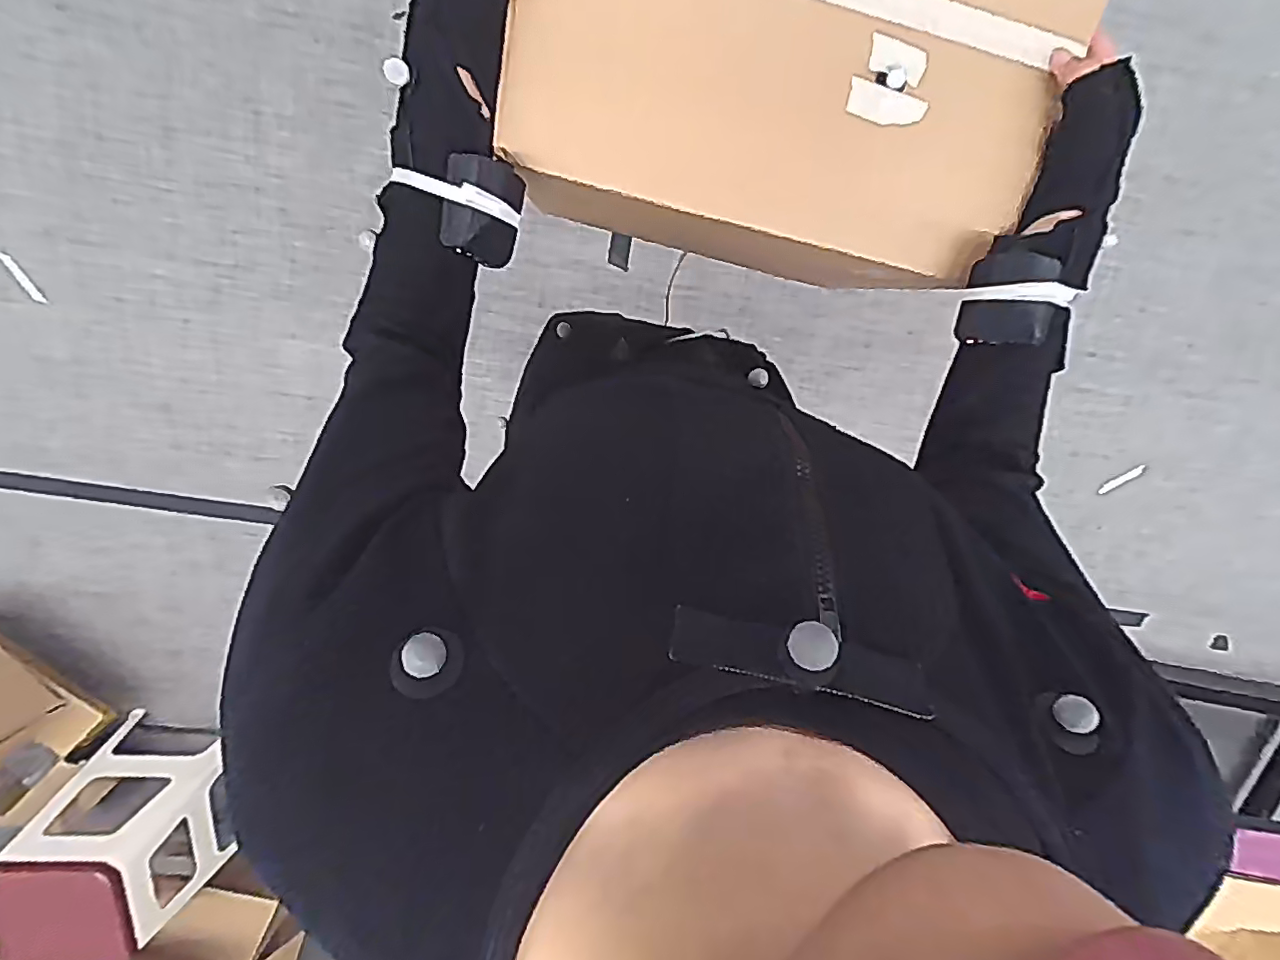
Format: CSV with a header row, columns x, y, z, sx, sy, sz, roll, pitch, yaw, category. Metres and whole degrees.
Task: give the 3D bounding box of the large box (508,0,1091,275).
x,y,z,sx,sy,sz,roll,pitch,yaw,category
0.111,-0.398,0.516,0.408,0.320,0.320,10,110,-9,large box
